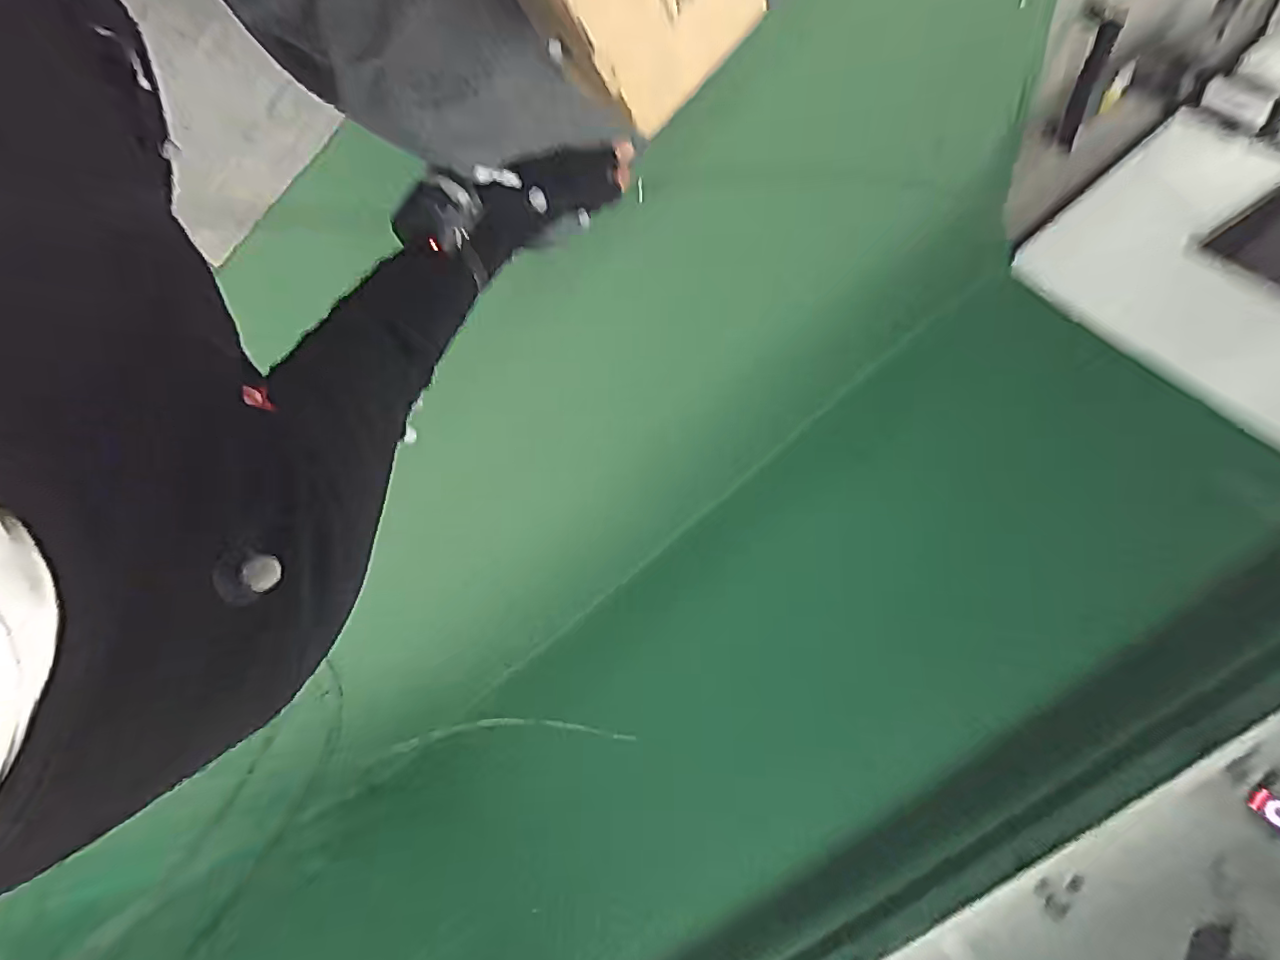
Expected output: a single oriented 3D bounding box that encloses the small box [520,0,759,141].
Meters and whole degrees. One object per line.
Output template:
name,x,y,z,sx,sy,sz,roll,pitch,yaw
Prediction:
small box,-0.017,-0.497,0.536,0.179,0.176,0.168,-42,152,10
